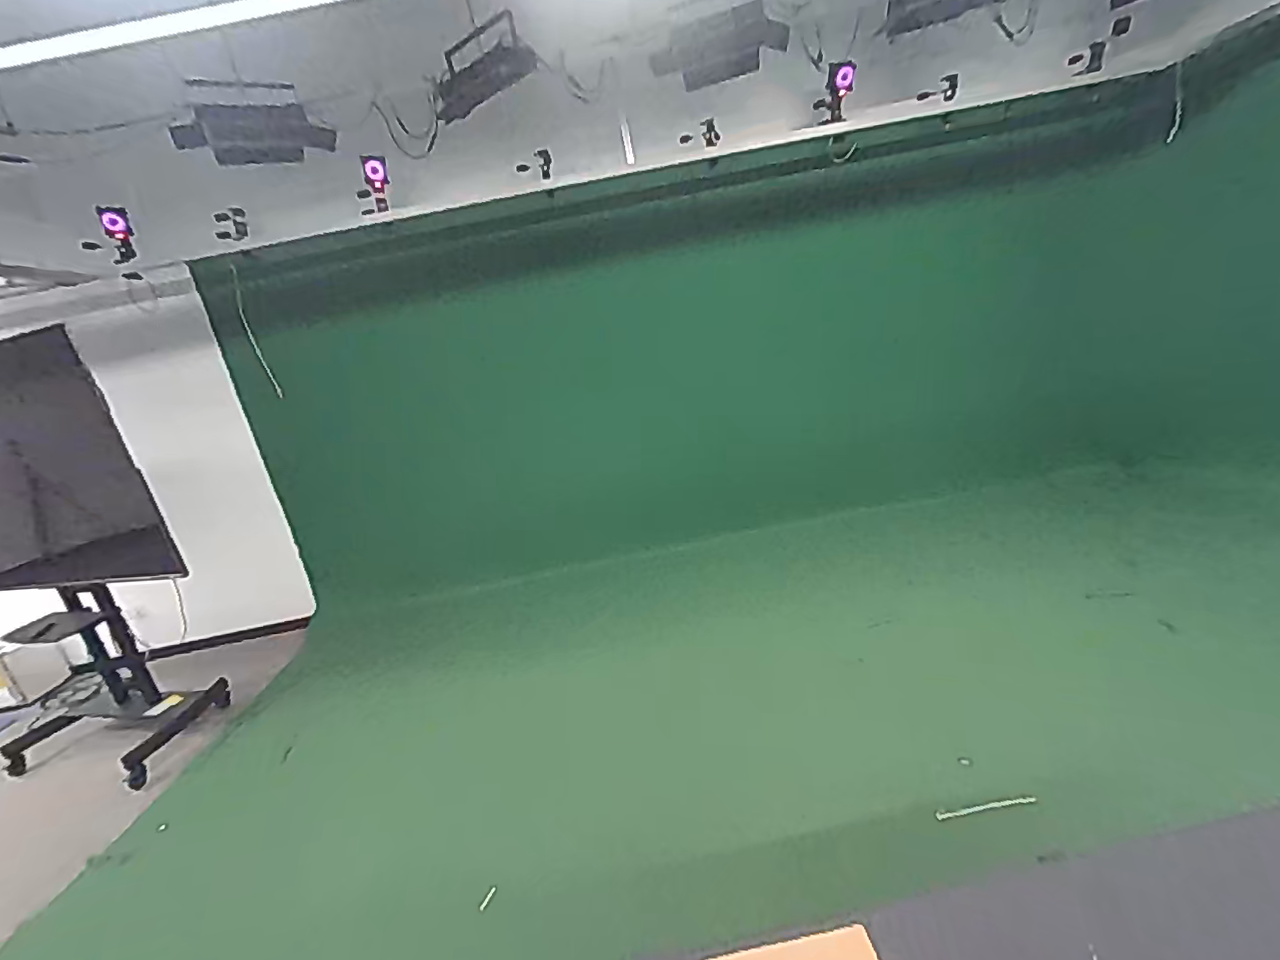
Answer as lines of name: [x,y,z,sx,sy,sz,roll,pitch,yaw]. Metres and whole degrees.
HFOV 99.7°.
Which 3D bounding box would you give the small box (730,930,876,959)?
small box: [0.155,0.543,0.451,0.168,0.176,0.179,-11,13,-3]
